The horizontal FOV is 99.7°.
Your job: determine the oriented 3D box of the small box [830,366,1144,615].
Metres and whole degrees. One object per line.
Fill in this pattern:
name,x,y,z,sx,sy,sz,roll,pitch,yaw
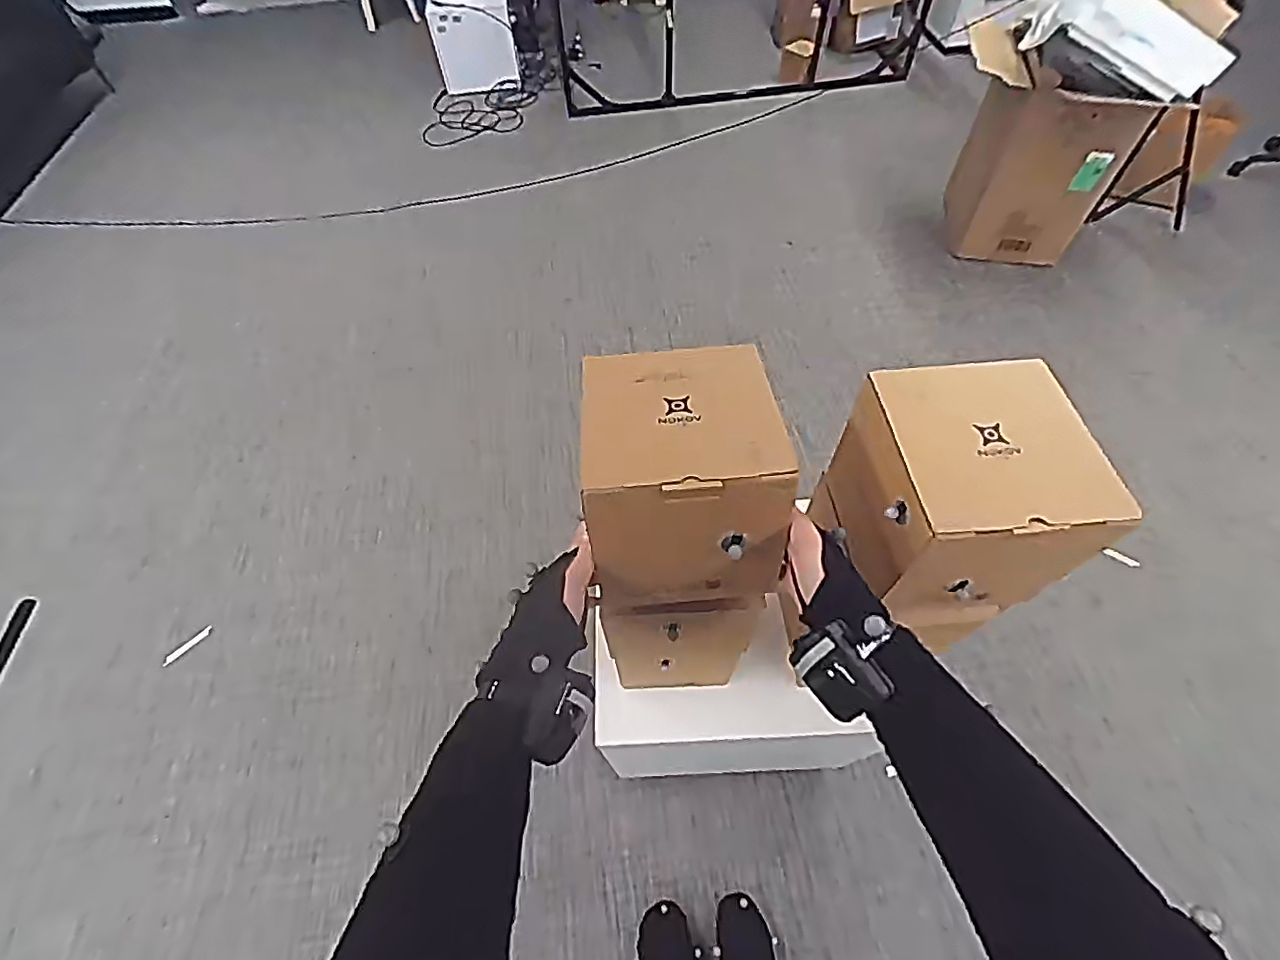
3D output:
small box,0.300,0.015,0.523,0.168,0.176,0.179,-4,57,0

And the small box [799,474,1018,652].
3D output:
small box,0.305,0.103,0.660,0.168,0.176,0.179,-5,56,0

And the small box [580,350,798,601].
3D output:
small box,0.039,0.002,0.512,0.168,0.176,0.179,-4,46,0

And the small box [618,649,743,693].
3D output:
small box,0.051,0.203,0.802,0.168,0.176,0.179,-2,56,1

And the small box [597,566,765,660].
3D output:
small box,0.044,0.116,0.661,0.179,0.176,0.168,-2,57,0
